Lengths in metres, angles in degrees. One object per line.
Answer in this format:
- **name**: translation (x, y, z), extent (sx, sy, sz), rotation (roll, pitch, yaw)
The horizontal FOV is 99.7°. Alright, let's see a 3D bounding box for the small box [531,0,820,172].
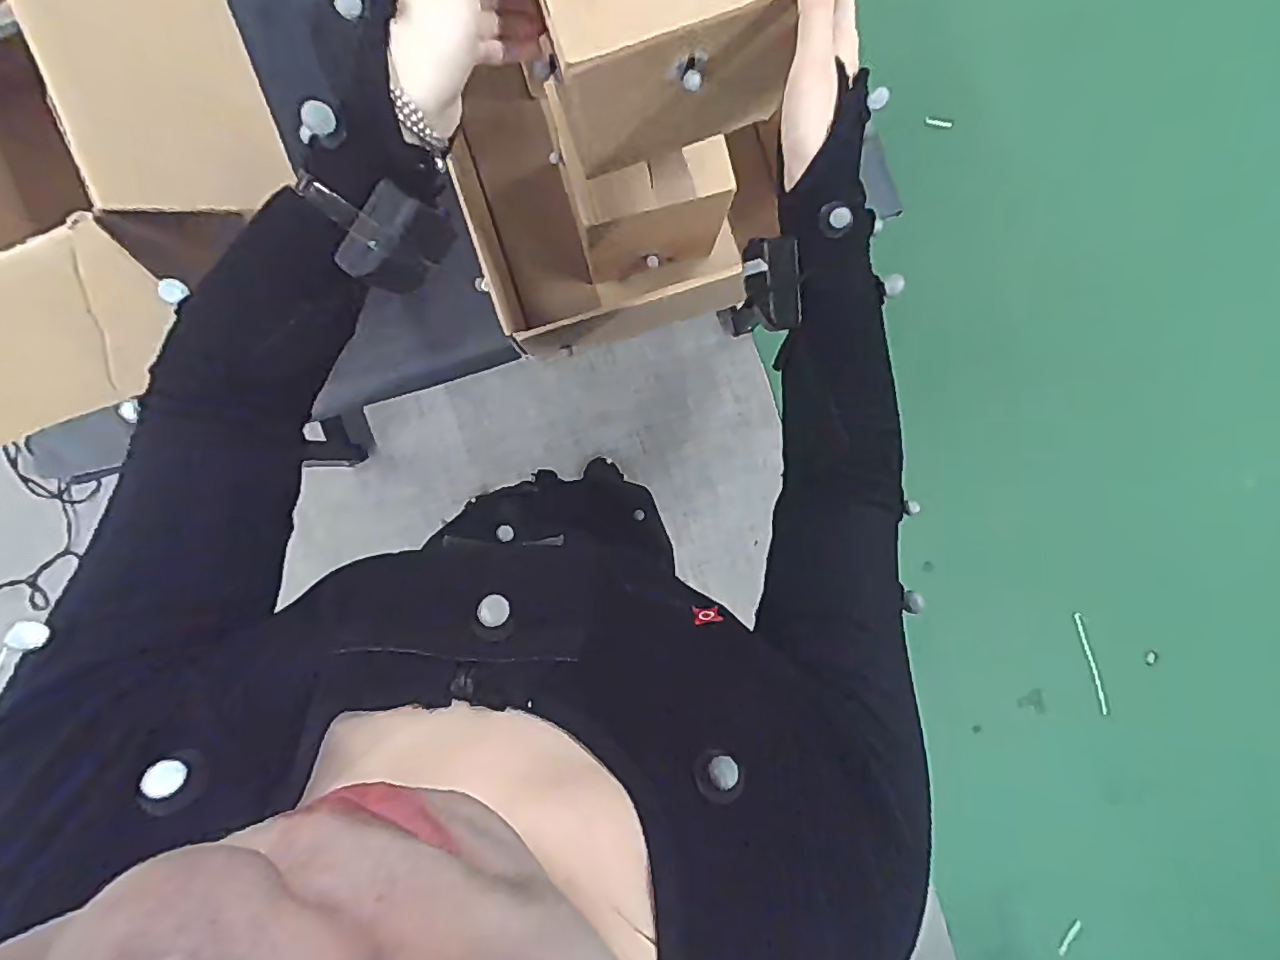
- **small box**: translation (0.011, -0.356, 0.389), extent (0.179, 0.176, 0.168), rotation (-18, 99, 1)
